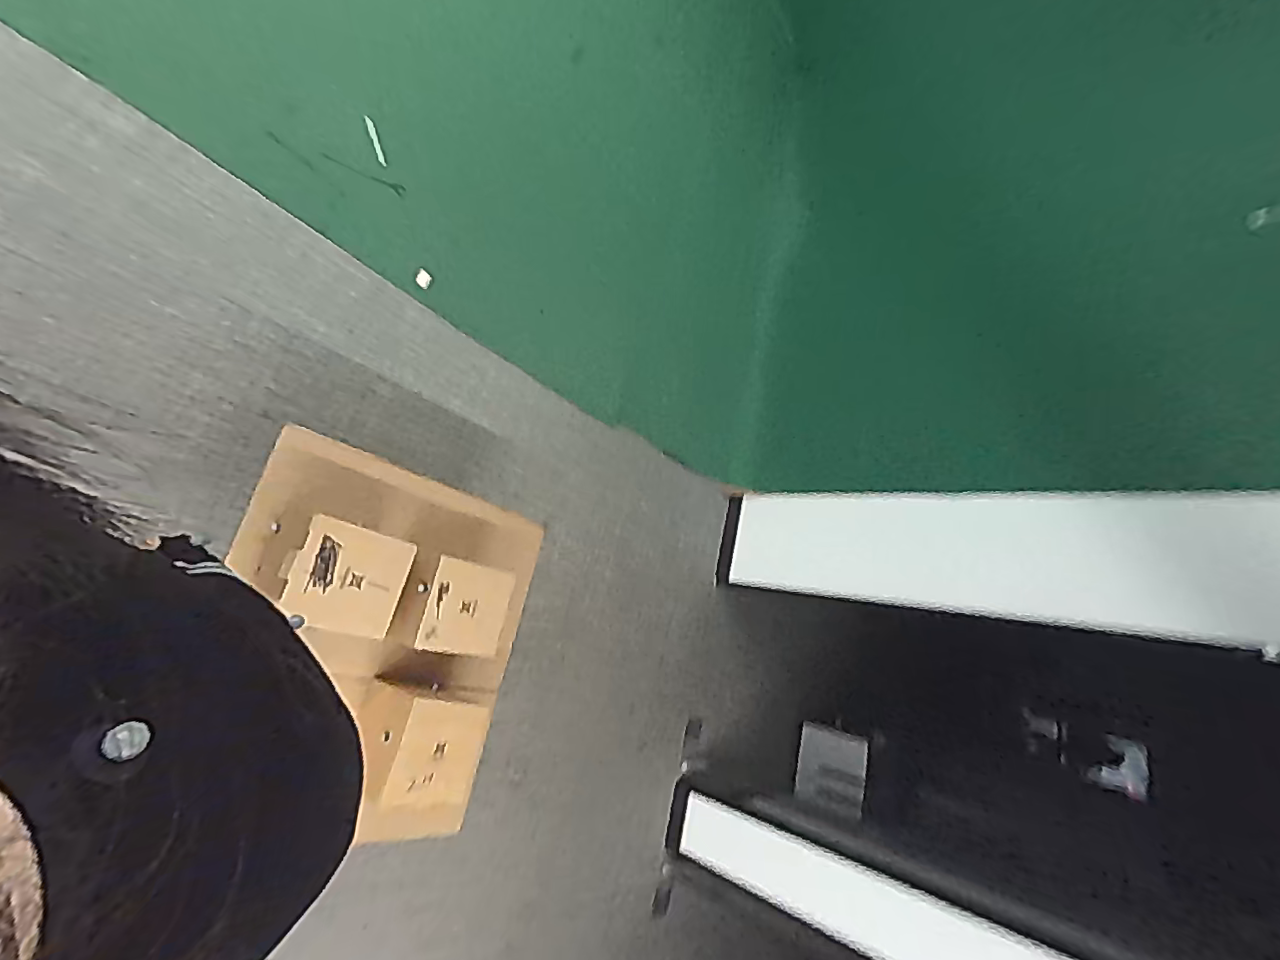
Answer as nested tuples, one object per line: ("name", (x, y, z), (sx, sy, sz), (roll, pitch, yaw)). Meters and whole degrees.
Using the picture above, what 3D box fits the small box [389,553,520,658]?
("small box", (-0.372, 0.242, 1.063), (0.179, 0.176, 0.168), (29, 67, -46))

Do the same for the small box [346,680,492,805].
("small box", (-0.416, 0.487, 1.014), (0.168, 0.176, 0.179), (33, 64, -43))

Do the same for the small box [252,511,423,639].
("small box", (-0.510, 0.158, 0.911), (0.179, 0.176, 0.168), (32, 66, -44))
